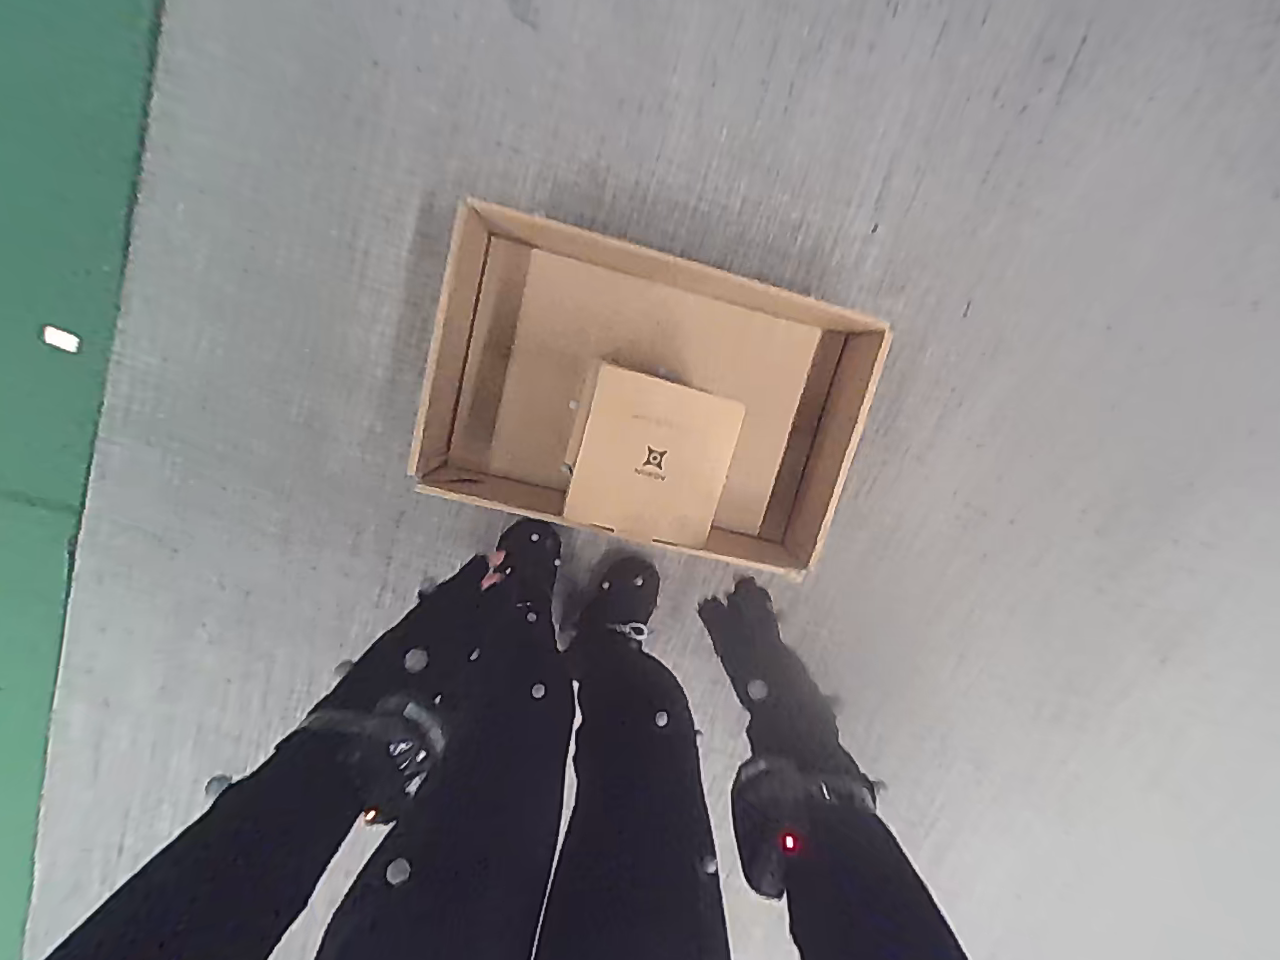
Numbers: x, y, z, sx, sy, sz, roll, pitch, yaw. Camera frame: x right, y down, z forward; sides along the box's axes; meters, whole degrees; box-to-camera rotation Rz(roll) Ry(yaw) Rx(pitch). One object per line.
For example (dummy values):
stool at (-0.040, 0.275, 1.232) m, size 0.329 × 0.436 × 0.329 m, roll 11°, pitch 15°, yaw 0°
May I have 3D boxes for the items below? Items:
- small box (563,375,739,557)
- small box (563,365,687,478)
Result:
small box at (0.007, -0.026, 0.663) m, size 0.168 × 0.176 × 0.179 m, roll 10°, pitch 101°, yaw -6°
small box at (-0.008, -0.075, 0.833) m, size 0.179 × 0.176 × 0.168 m, roll 15°, pitch 99°, yaw -5°
